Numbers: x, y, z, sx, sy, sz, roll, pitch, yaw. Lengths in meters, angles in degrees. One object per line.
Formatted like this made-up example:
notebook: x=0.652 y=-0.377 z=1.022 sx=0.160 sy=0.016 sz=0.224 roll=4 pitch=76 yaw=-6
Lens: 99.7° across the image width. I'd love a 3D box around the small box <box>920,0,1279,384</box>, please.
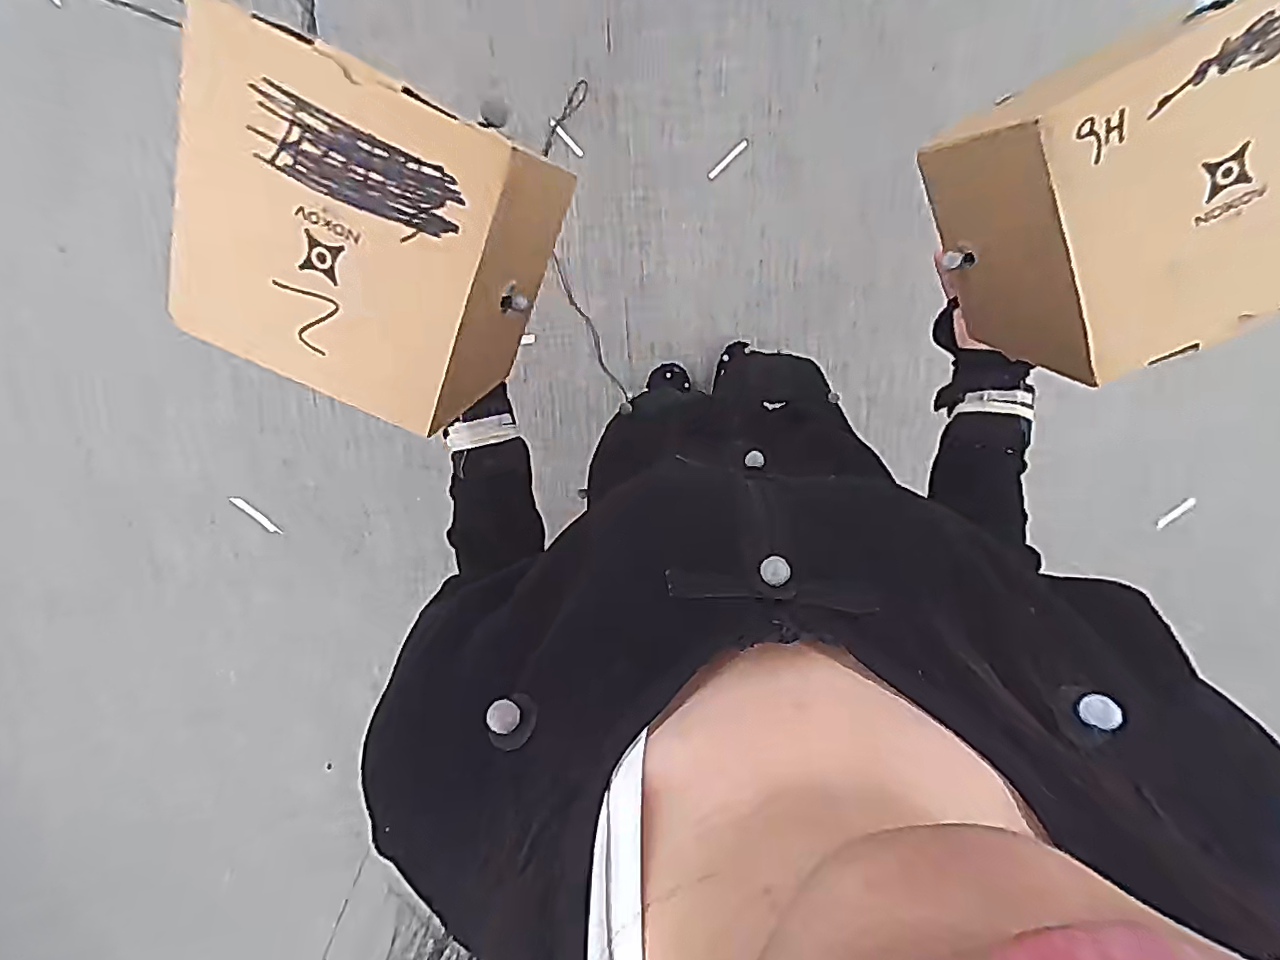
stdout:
small box: x=0.332 y=-0.200 z=0.381 sx=0.168 sy=0.176 sz=0.179 roll=-26 pitch=112 yaw=14
